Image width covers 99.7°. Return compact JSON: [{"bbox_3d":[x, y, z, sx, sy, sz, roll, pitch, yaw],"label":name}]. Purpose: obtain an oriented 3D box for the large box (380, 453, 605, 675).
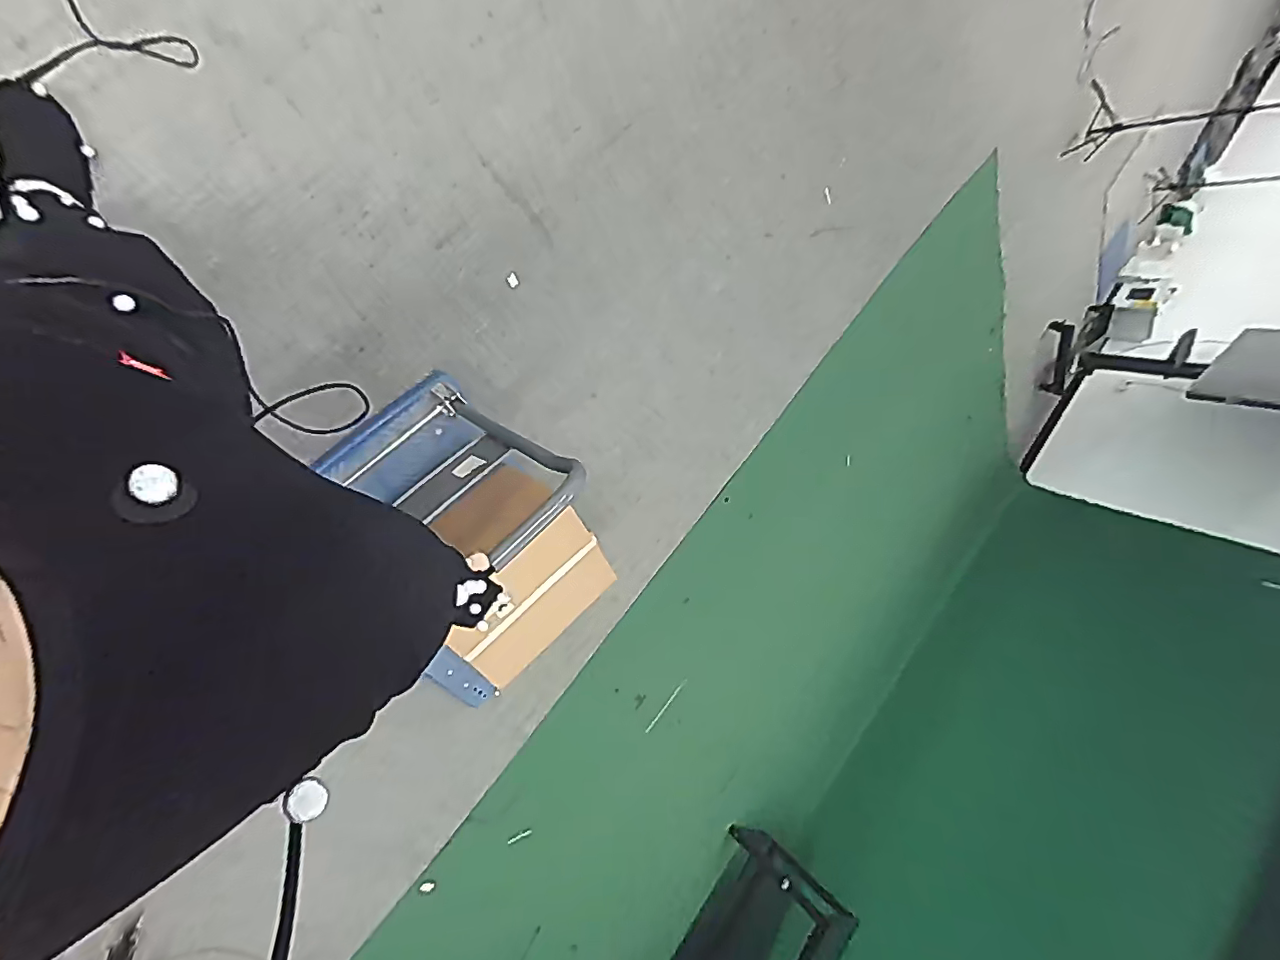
[{"bbox_3d":[-0.372,0.198,1.393,0.408,0.320,0.320,-42,129,-18],"label":"large box"}]
